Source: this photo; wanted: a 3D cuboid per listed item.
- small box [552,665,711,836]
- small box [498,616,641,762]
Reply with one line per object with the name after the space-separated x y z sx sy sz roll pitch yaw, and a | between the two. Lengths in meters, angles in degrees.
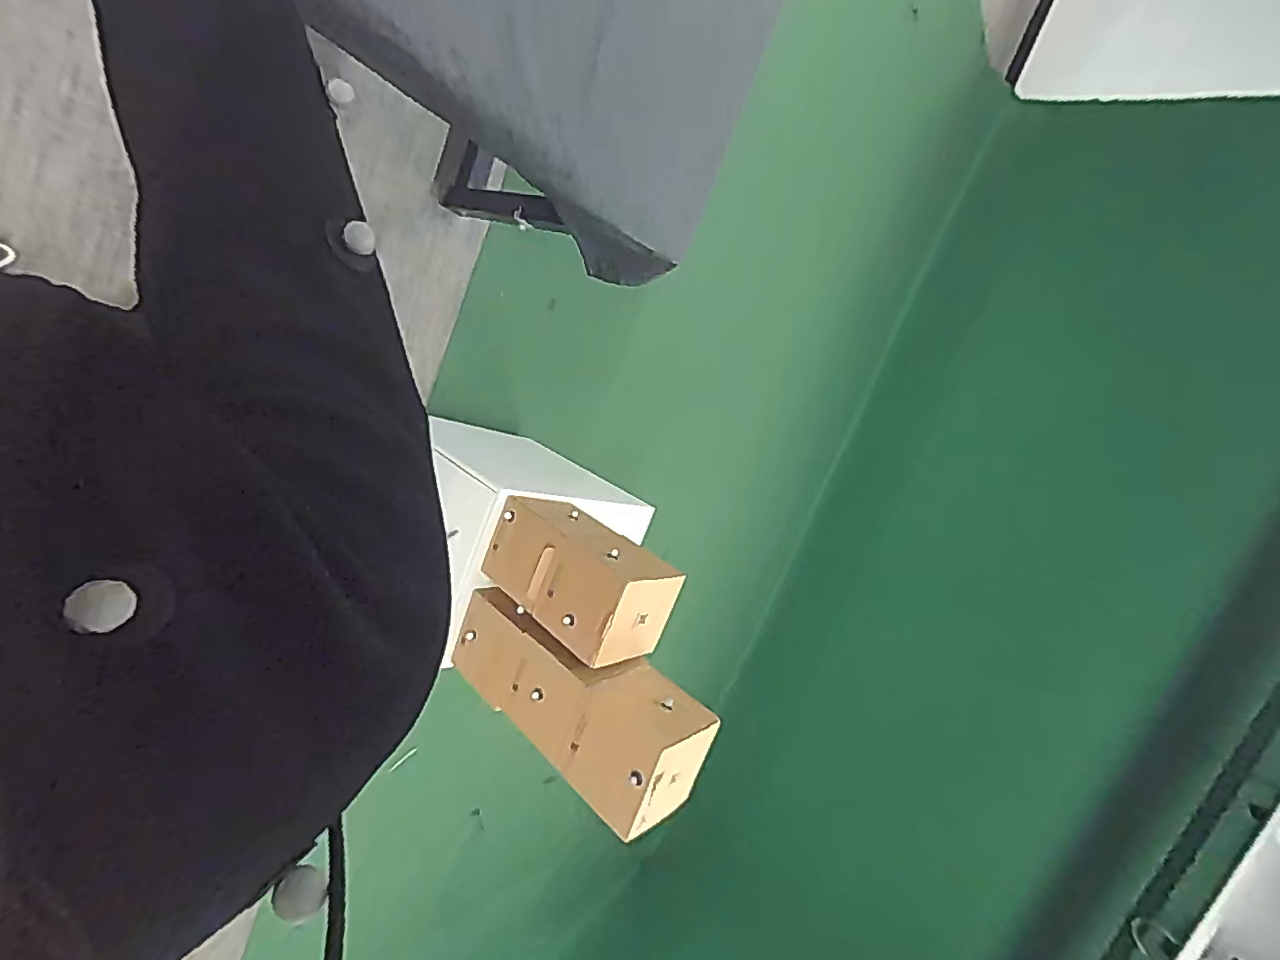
-0.015 0.436 0.910 0.179 0.176 0.168 8 105 -54 | small box
-0.134 0.374 1.004 0.179 0.176 0.168 4 109 -53 | small box
